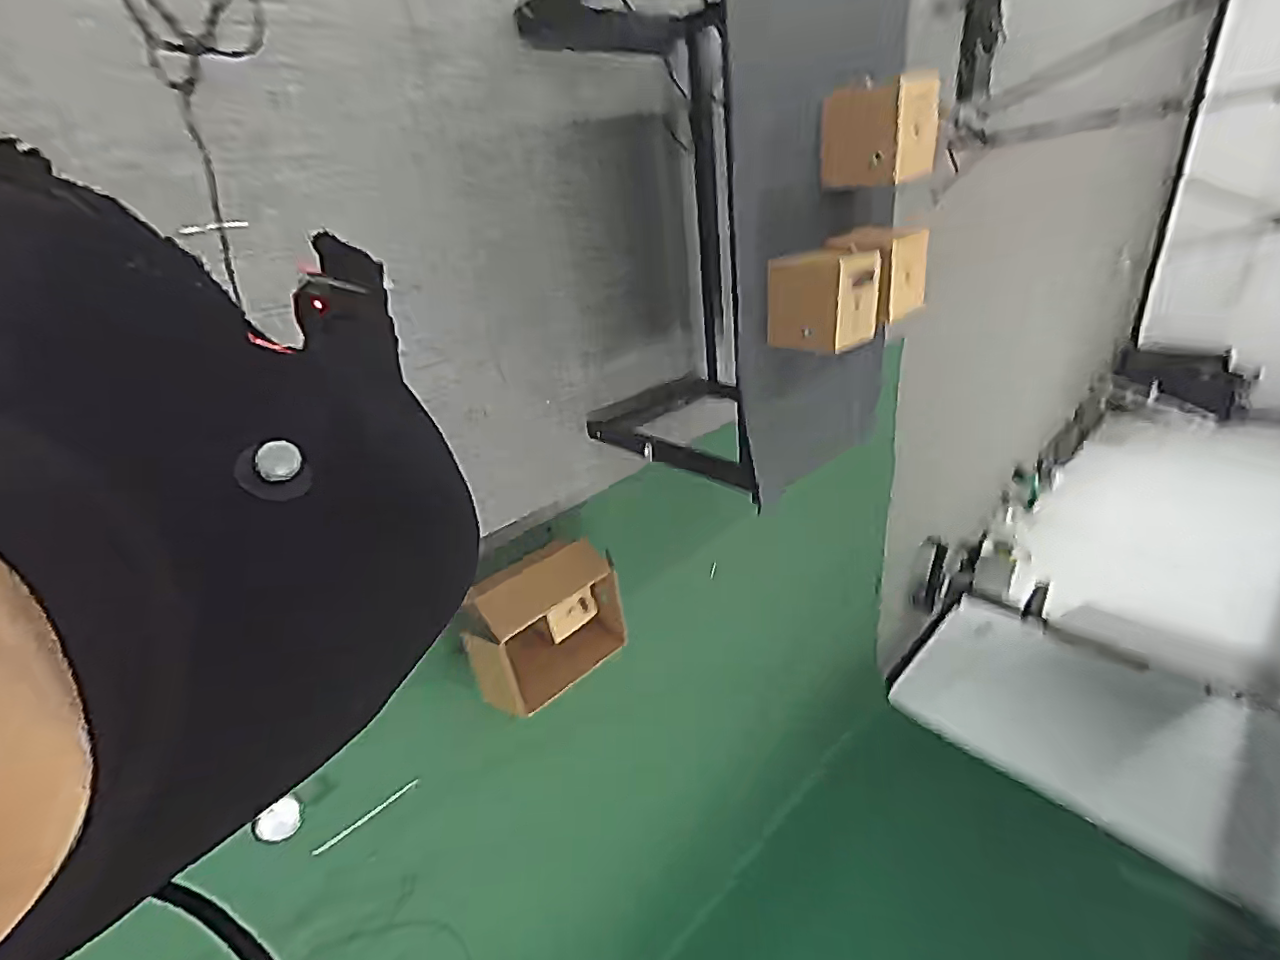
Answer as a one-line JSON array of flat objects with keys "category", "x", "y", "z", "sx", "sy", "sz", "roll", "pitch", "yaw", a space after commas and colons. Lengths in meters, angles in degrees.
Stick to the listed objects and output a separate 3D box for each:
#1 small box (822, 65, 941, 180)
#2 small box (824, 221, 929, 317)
[{"category": "small box", "x": 0.495, "y": -0.735, "z": 1.125, "sx": 0.168, "sy": 0.176, "sz": 0.179, "roll": -31, "pitch": 124, "yaw": -32}, {"category": "small box", "x": 0.549, "y": -0.496, "z": 1.271, "sx": 0.168, "sy": 0.176, "sz": 0.179, "roll": -31, "pitch": 124, "yaw": -31}]
